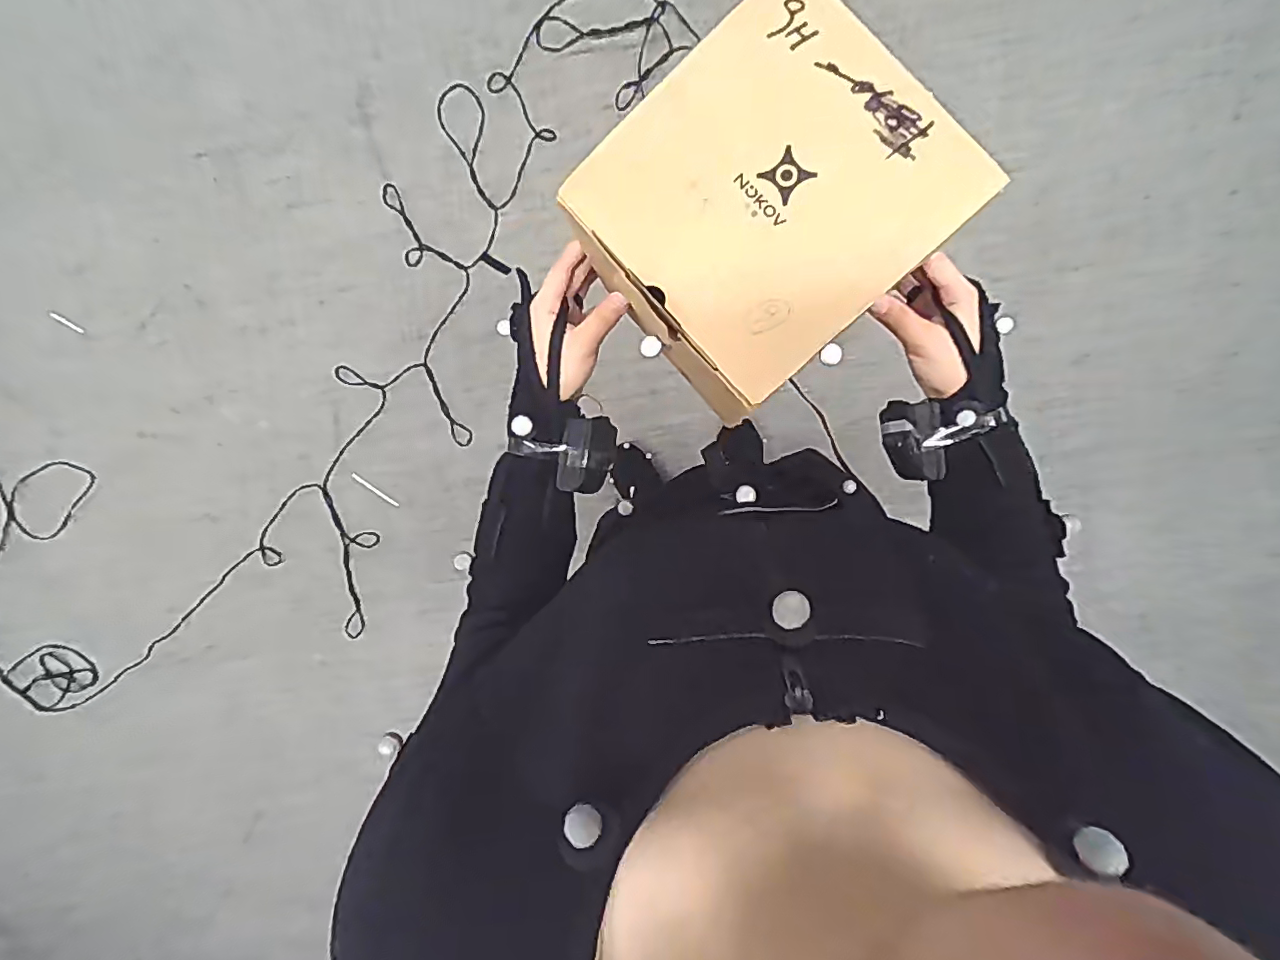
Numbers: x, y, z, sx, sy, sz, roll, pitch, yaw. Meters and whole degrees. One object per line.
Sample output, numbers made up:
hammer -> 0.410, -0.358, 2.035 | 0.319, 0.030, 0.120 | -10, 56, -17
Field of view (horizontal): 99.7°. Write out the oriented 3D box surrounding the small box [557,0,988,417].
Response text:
small box -> 0.077, -0.159, 0.373 | 0.179, 0.176, 0.168 | -42, 88, 7
